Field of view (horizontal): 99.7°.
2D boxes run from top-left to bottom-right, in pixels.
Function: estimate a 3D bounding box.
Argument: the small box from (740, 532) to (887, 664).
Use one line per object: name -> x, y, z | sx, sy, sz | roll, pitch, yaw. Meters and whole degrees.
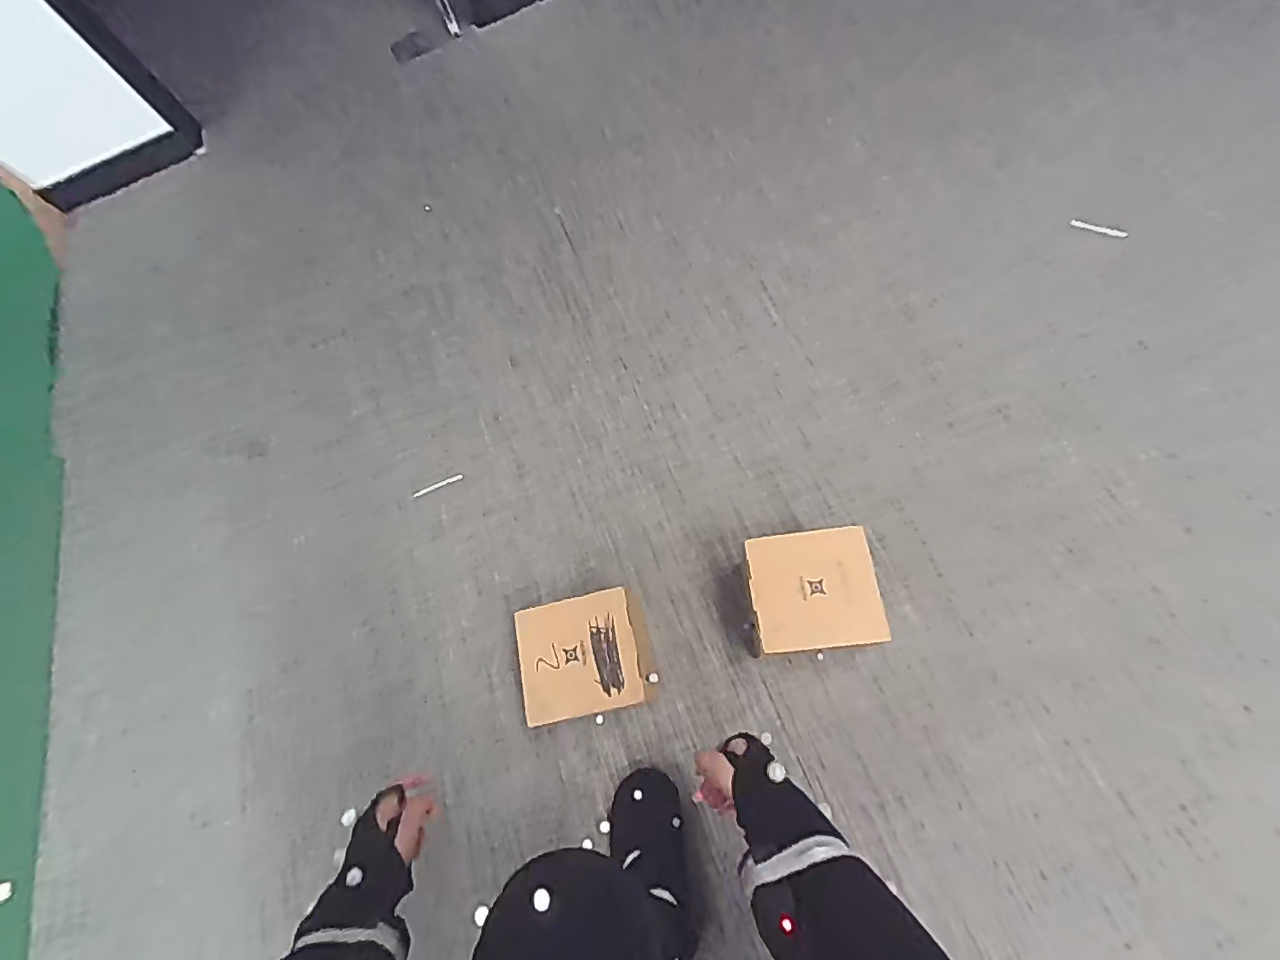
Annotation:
small box -> 0.253, 0.189, 0.834 | 0.179, 0.176, 0.168 | -7, 68, 6
